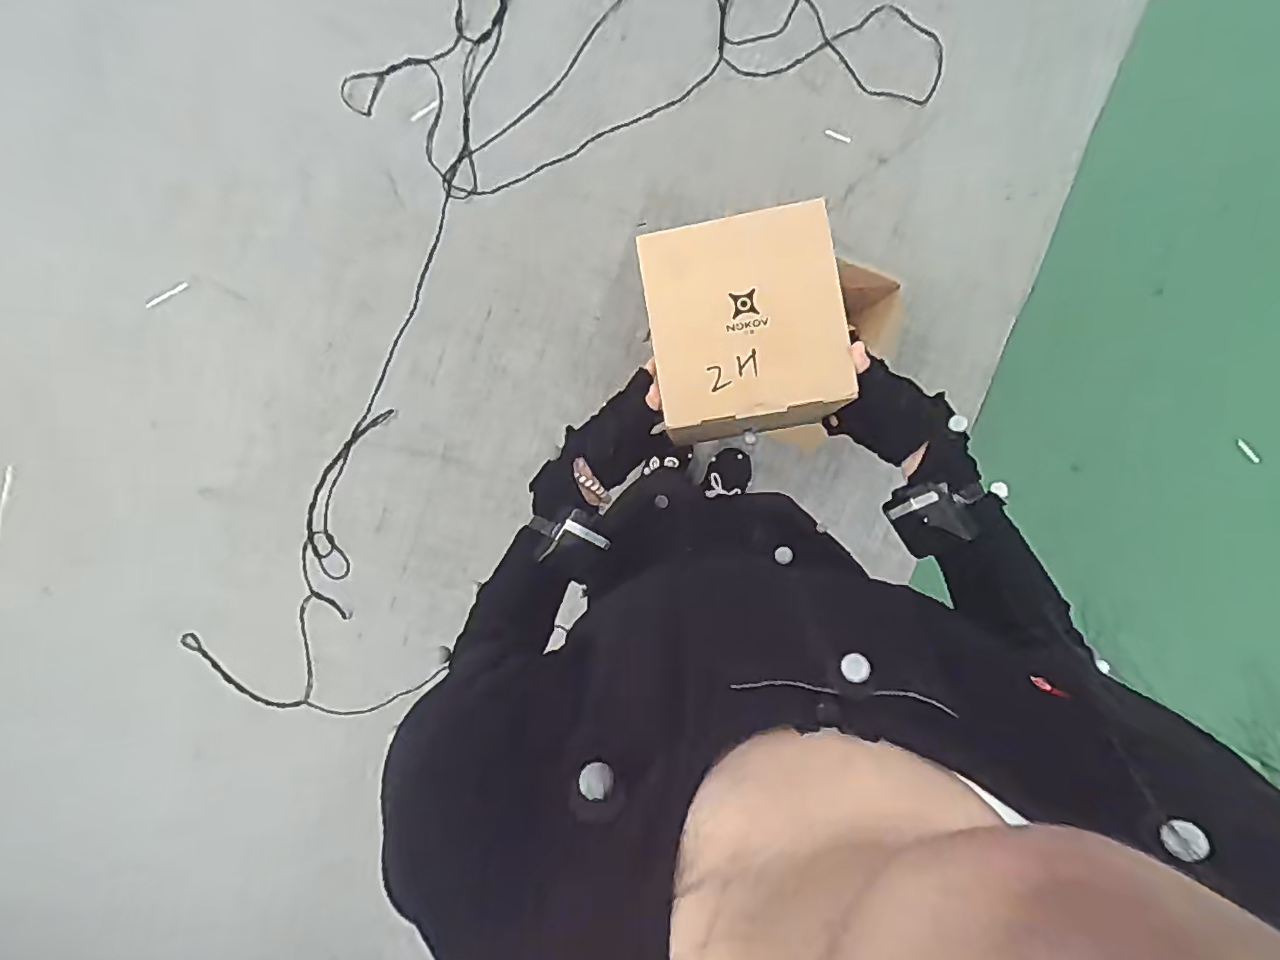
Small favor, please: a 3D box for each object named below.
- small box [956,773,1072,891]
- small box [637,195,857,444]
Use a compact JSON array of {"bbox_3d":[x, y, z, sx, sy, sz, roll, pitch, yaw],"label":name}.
[{"bbox_3d":[0.979,0.926,1.437,0.168,0.176,0.179,18,94,1],"label":"small box"},{"bbox_3d":[0.095,-0.140,0.535,0.168,0.176,0.179,-9,88,6],"label":"small box"}]
